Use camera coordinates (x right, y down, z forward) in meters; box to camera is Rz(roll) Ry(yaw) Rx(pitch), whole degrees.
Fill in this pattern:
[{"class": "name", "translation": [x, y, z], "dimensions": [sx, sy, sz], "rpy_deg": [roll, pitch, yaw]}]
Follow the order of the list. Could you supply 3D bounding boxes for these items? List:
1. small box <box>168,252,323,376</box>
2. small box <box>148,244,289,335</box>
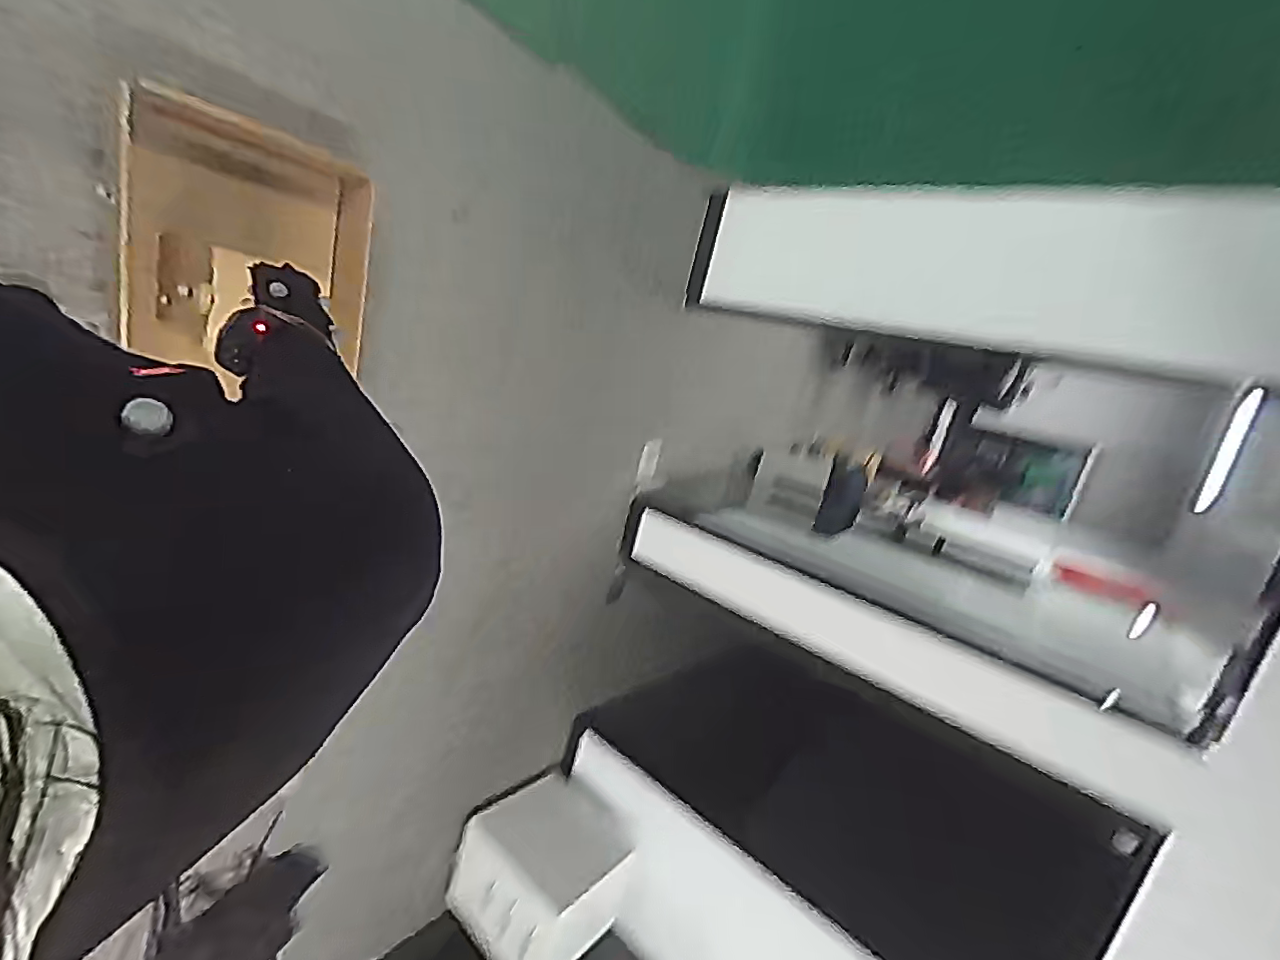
[{"class": "small box", "translation": [-0.703, -0.294, 0.960], "dimensions": [0.179, 0.176, 0.168], "rpy_deg": [1, 107, -55]}, {"class": "small box", "translation": [-0.824, -0.350, 1.054], "dimensions": [0.179, 0.176, 0.168], "rpy_deg": [-4, 111, -55]}]
